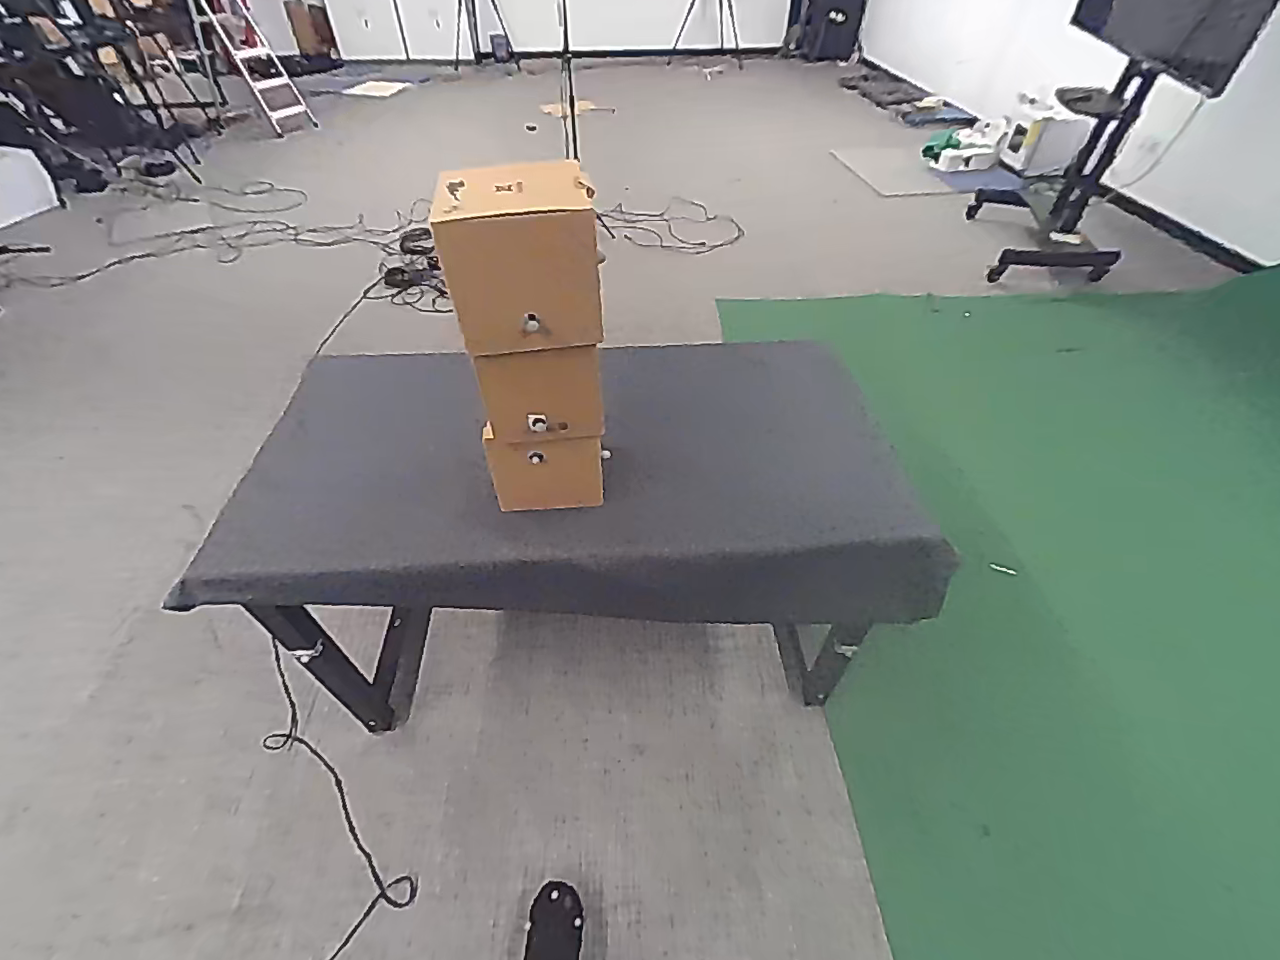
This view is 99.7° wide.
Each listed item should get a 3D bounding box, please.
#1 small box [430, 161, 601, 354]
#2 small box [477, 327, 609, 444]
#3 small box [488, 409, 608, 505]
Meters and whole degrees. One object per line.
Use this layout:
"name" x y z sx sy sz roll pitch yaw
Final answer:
"small box" -0.144 -0.278 0.681 0.179 0.176 0.168 -8 46 -5
"small box" -0.141 -0.178 0.812 0.168 0.176 0.179 -8 48 -4
"small box" -0.149 -0.070 0.932 0.179 0.176 0.168 -3 46 -2
